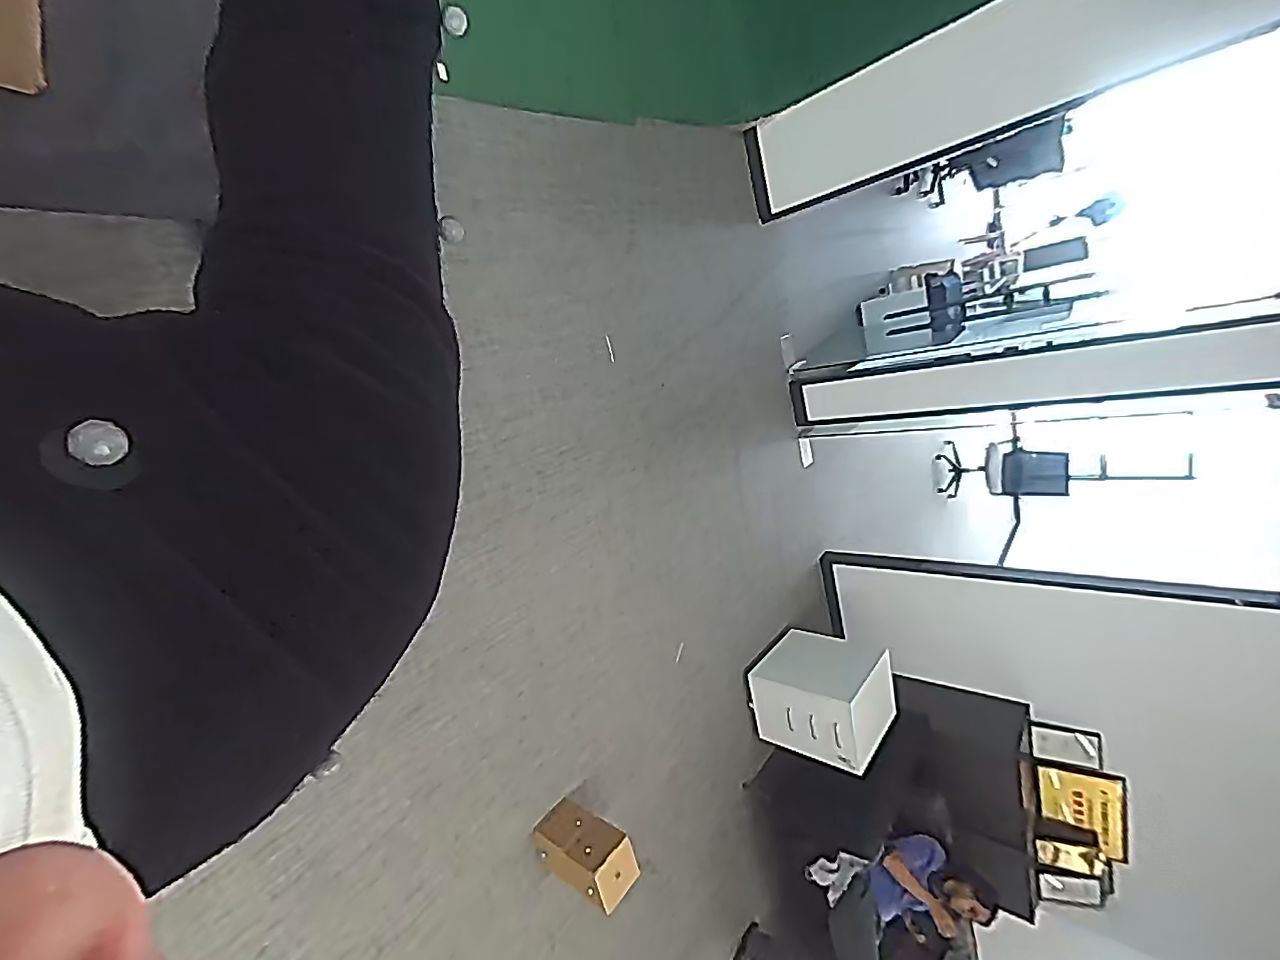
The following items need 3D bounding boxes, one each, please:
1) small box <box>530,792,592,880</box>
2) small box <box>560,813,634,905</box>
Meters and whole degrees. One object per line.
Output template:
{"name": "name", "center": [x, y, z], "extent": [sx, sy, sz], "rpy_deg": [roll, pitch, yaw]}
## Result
{"name": "small box", "center": [-0.271, 1.284, 1.962], "extent": [0.168, 0.176, 0.179], "rpy_deg": [-28, 111, -45]}
{"name": "small box", "center": [-0.151, 1.284, 1.854], "extent": [0.168, 0.176, 0.179], "rpy_deg": [-30, 113, -43]}
